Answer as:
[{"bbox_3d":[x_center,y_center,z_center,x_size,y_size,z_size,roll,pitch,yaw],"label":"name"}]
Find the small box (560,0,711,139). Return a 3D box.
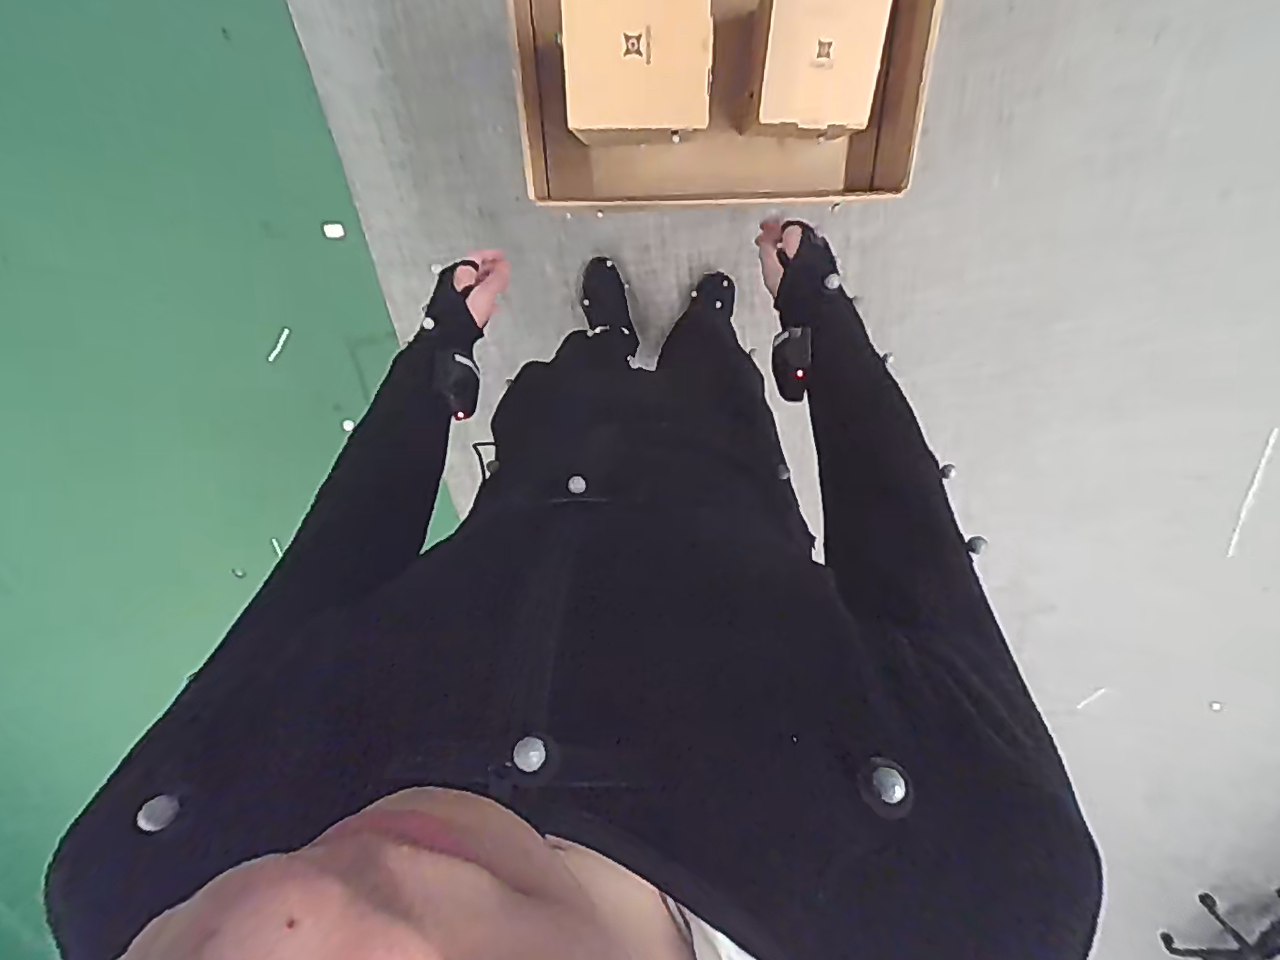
[{"bbox_3d":[-0.002,-0.551,0.706,0.179,0.176,0.168,0,117,1],"label":"small box"}]
